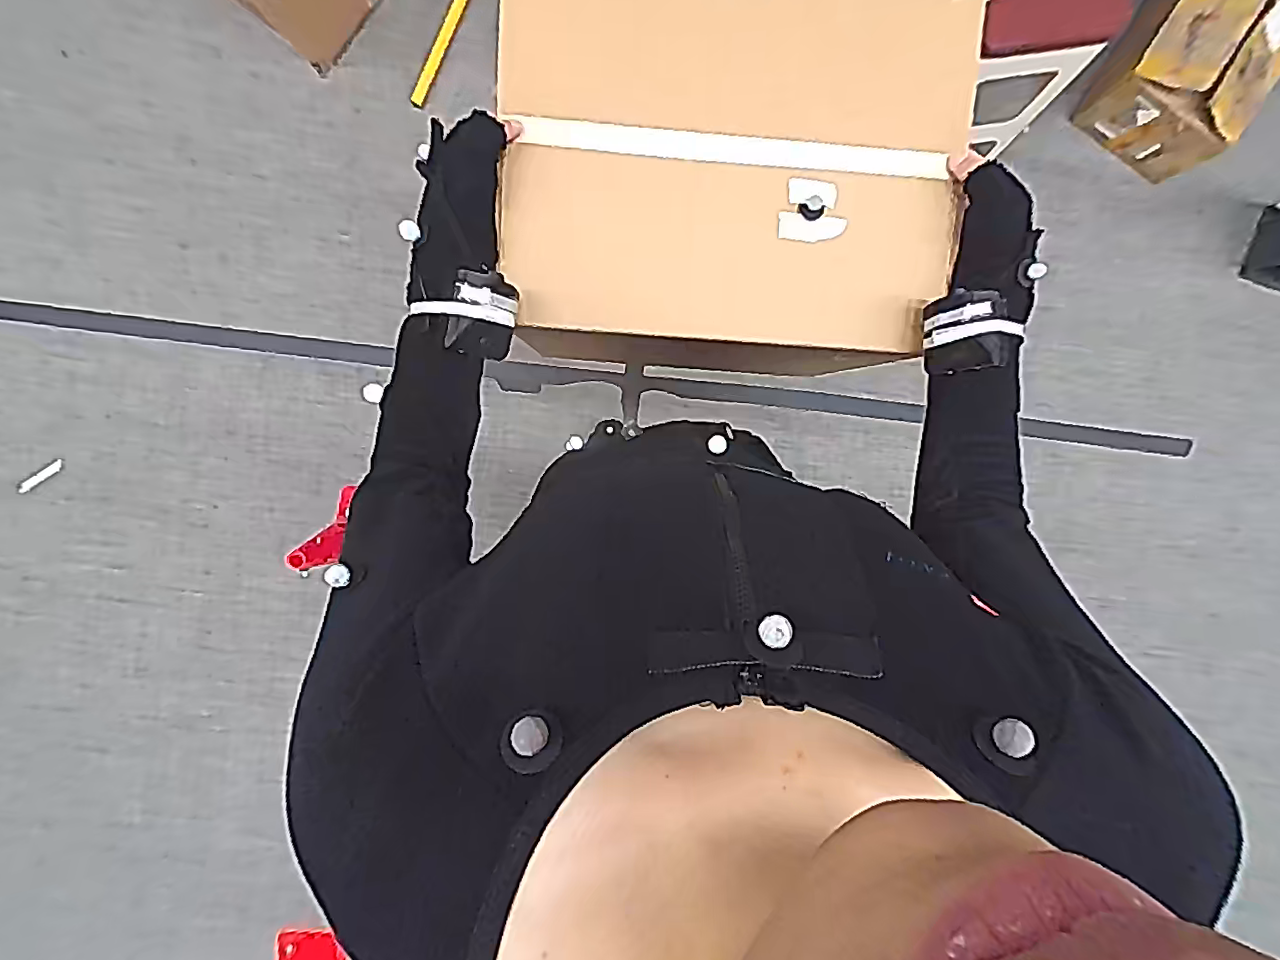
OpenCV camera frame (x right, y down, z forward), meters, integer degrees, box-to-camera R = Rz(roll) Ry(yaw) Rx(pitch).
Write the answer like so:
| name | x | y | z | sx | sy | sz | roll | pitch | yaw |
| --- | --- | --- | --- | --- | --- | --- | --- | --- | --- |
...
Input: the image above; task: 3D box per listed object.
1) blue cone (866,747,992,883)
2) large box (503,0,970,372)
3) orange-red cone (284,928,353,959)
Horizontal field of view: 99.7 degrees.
| name | x | y | z | sx | sy | sz | roll | pitch | yaw |
| --- | --- | --- | --- | --- | --- | --- | --- | --- | --- |
| blue cone | 0.780 | 0.900 | 1.438 | 0.192 | 0.380 | 0.193 | 10 | 95 | -4 |
| large box | 0.072 | -0.299 | 0.616 | 0.408 | 0.320 | 0.320 | 3 | 97 | -4 |
| orange-red cone | -0.932 | 1.420 | 1.402 | 0.198 | 0.360 | 0.199 | 4 | 97 | -2 |
